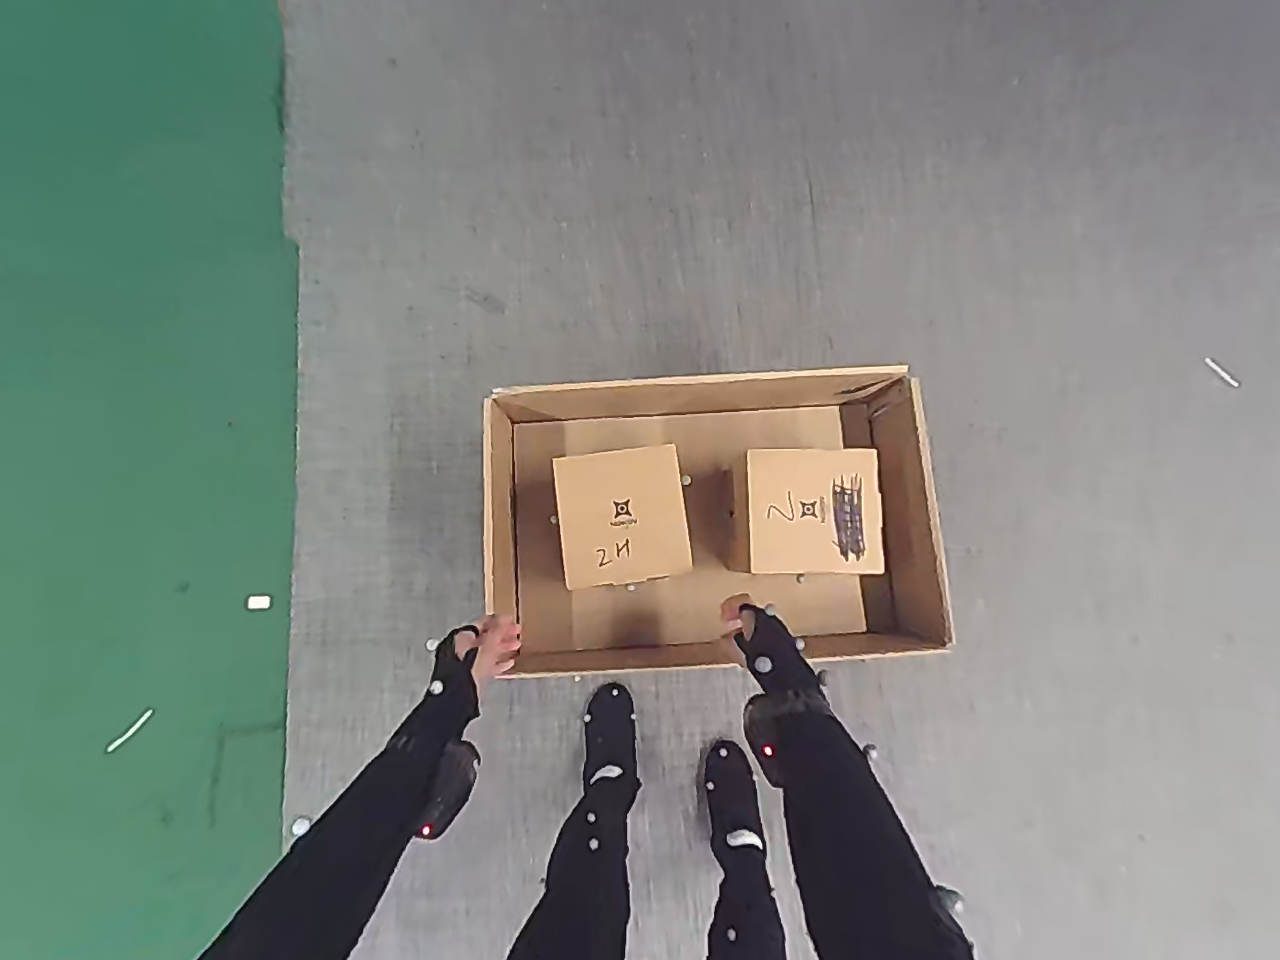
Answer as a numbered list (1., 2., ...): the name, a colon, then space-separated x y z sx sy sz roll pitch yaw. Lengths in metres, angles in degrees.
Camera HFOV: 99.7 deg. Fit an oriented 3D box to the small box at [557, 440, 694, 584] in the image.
1. small box: -0.022 0.053 0.779 0.168 0.176 0.179 -7 81 -2
